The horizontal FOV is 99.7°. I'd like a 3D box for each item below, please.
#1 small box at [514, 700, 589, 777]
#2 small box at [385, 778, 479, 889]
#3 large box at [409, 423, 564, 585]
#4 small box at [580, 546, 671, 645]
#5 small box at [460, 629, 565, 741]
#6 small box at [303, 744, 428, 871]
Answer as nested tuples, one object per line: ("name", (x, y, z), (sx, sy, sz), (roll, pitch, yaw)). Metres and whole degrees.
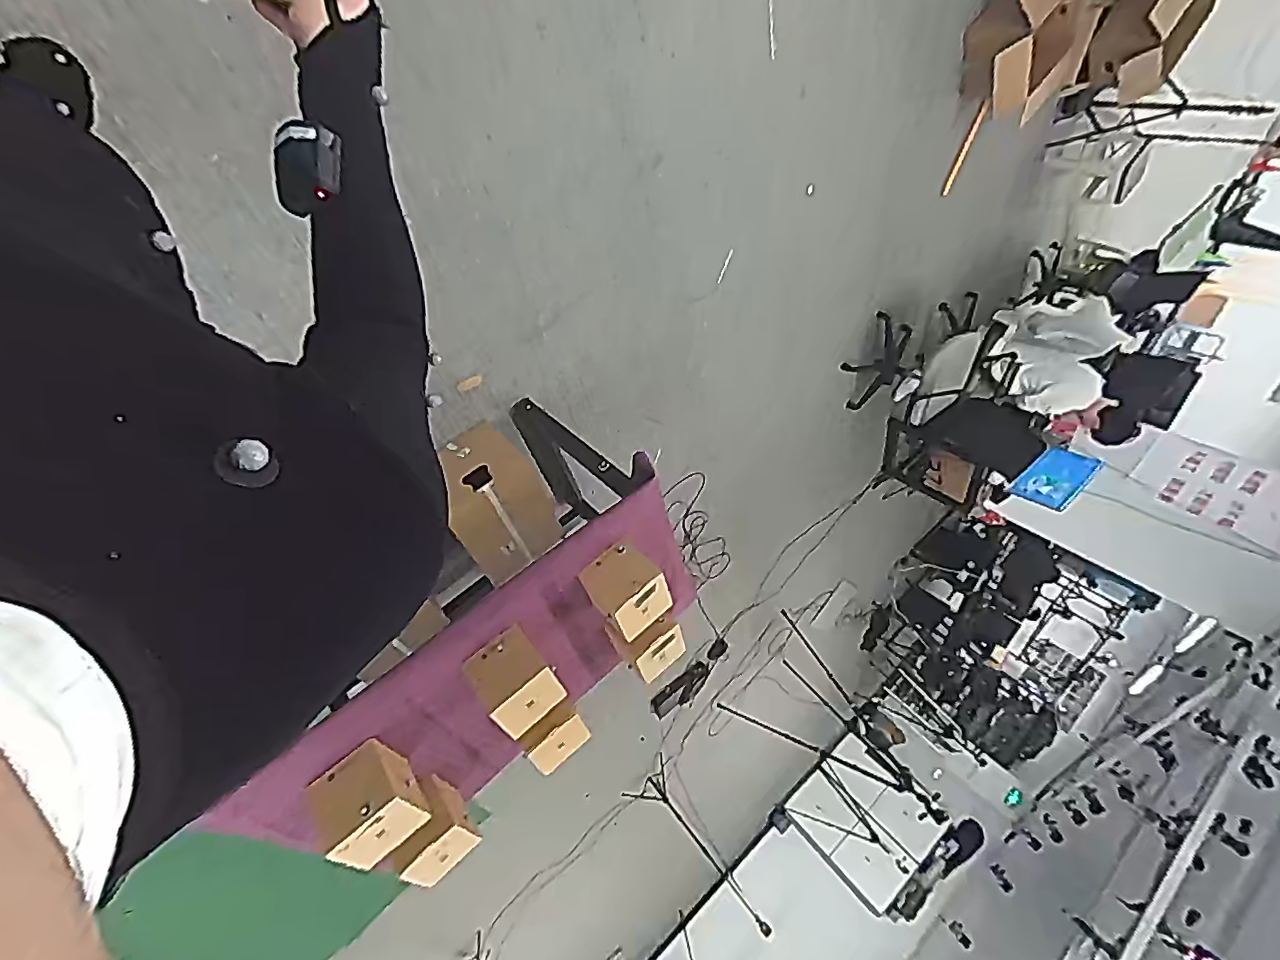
("small box", (-0.275, 0.700, 1.546), (0.168, 0.176, 0.179), (-35, 137, -20))
("small box", (-0.564, 0.931, 1.433), (0.168, 0.176, 0.179), (-37, 138, -21))
("large box", (-0.524, 0.082, 1.883), (0.320, 0.320, 0.408), (-36, 140, -18))
("small box", (-0.040, 0.304, 1.468), (0.168, 0.176, 0.179), (-37, 141, -17))
("small box", (-0.318, 0.508, 1.354), (0.168, 0.176, 0.179), (-36, 139, -20))
("small box", (-0.621, 0.738, 1.228), (0.168, 0.176, 0.179), (-37, 141, -21))
